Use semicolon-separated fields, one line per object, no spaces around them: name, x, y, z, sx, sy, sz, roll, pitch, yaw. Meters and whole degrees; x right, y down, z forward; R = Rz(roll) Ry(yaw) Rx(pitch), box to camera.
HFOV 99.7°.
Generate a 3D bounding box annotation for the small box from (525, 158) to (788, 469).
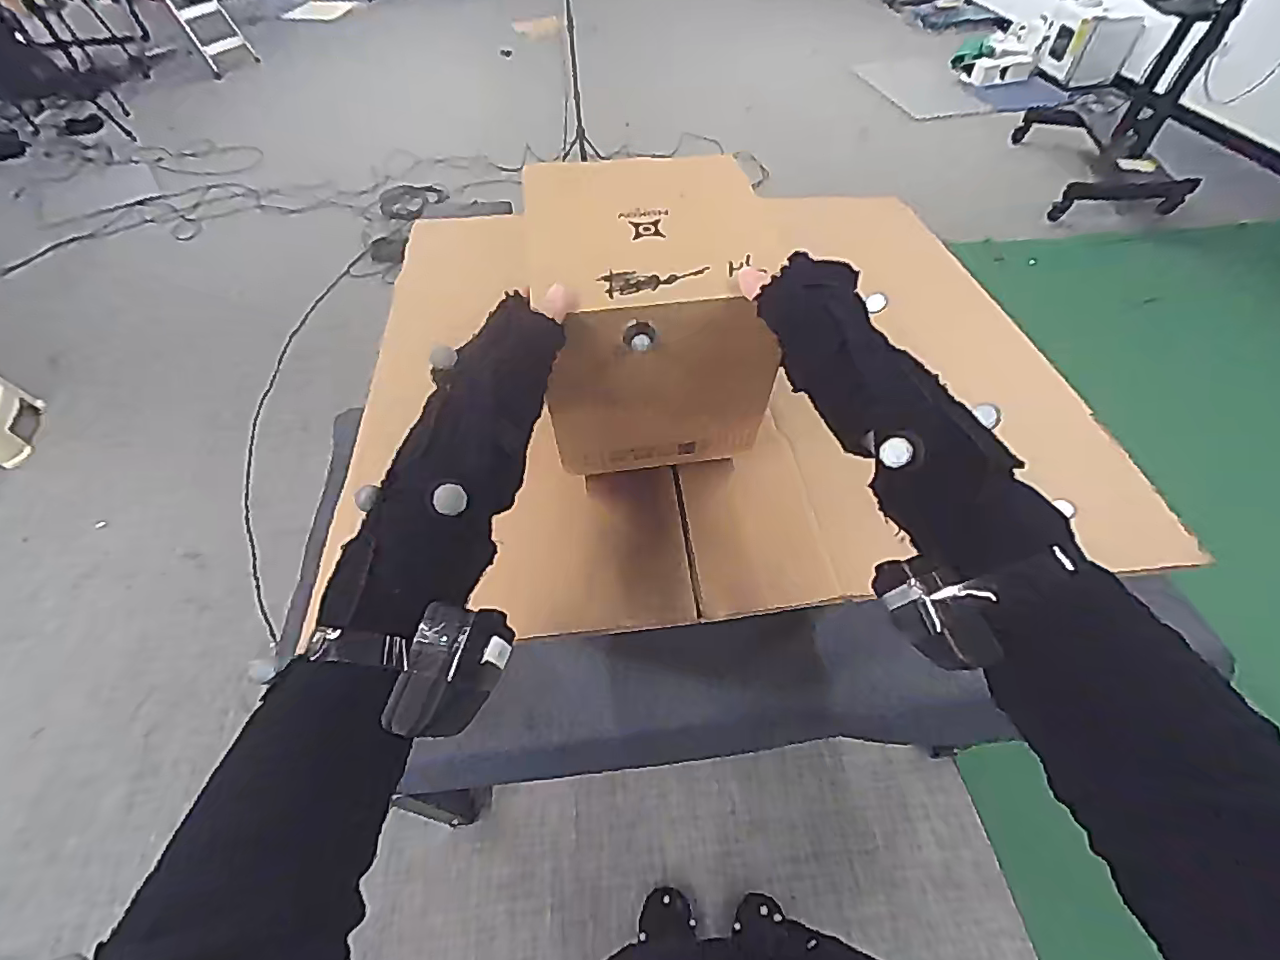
small box;0.001;-0.132;0.442;0.168;0.176;0.179;-7;55;-4
